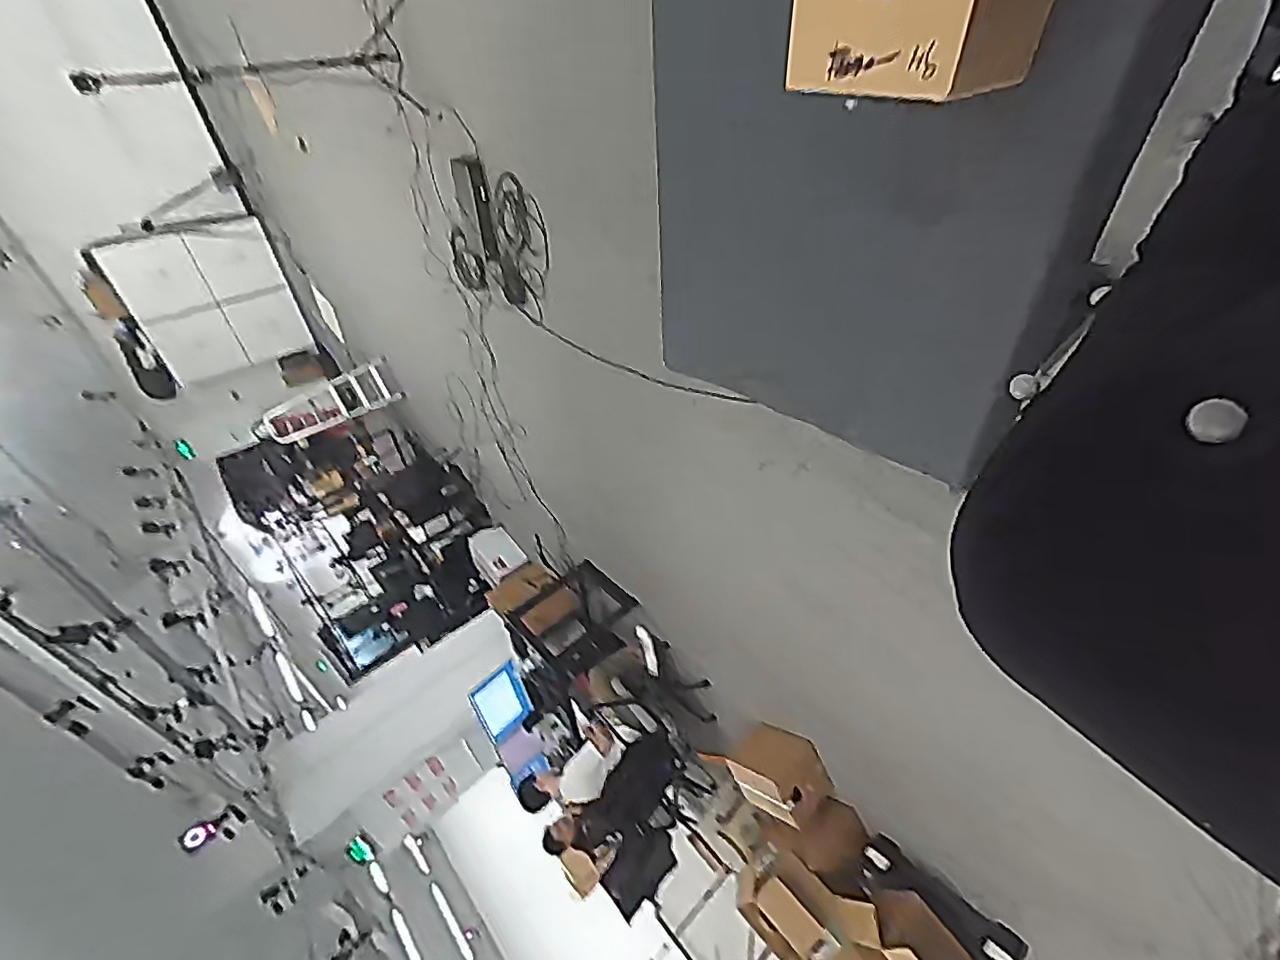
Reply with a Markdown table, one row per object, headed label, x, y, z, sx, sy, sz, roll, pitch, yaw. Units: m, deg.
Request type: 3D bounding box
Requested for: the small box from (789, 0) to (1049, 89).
| label | x | y | z | sx | sy | sz | roll | pitch | yaw |
| --- | --- | --- | --- | --- | --- | --- | --- | --- | --- |
| small box | 0.260 | -0.465 | 0.478 | 0.168 | 0.176 | 0.179 | 35 | 144 | 35 |
